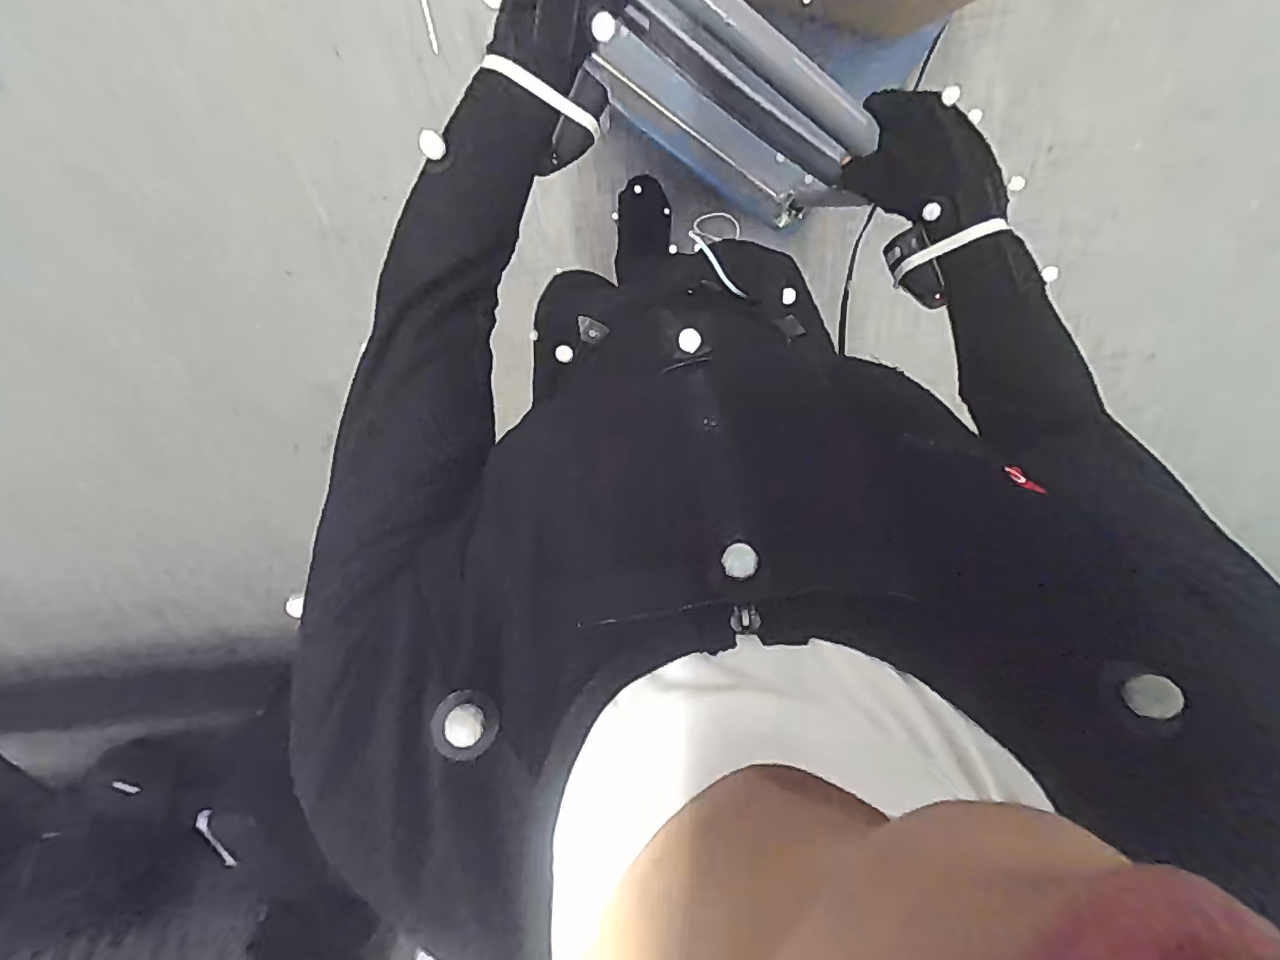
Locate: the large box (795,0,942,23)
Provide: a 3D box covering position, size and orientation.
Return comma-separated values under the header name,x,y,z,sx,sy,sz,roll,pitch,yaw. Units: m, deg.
name,x,y,z,sx,sy,sz,roll,pitch,yaw
large box,0.282,-0.872,0.722,0.408,0.320,0.320,11,120,-4
